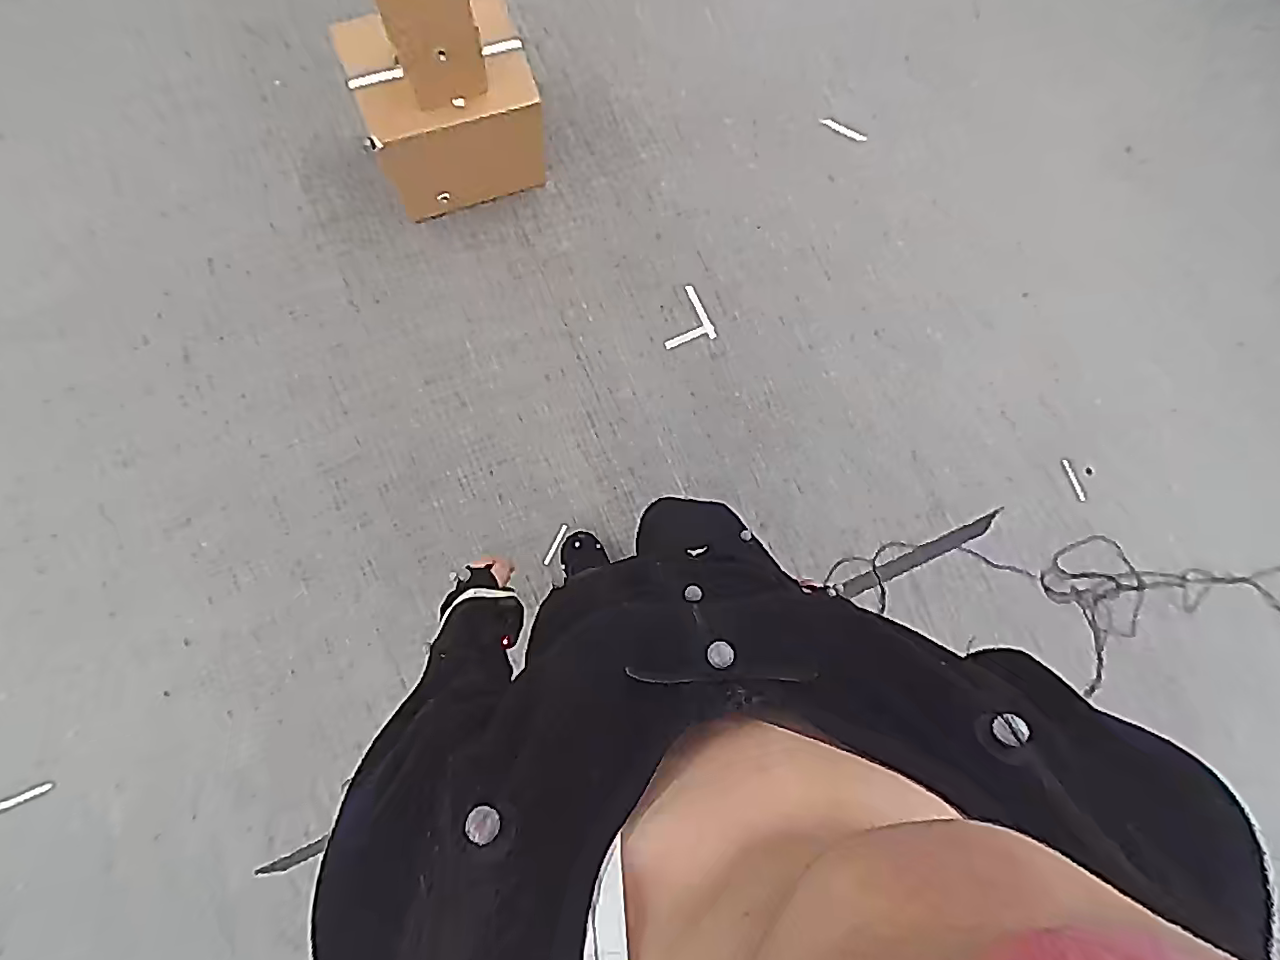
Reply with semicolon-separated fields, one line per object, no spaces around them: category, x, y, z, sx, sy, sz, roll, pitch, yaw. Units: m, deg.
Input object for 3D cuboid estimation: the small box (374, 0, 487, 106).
small box;-0.453;-0.964;1.179;0.179;0.176;0.168;-24;89;-10
